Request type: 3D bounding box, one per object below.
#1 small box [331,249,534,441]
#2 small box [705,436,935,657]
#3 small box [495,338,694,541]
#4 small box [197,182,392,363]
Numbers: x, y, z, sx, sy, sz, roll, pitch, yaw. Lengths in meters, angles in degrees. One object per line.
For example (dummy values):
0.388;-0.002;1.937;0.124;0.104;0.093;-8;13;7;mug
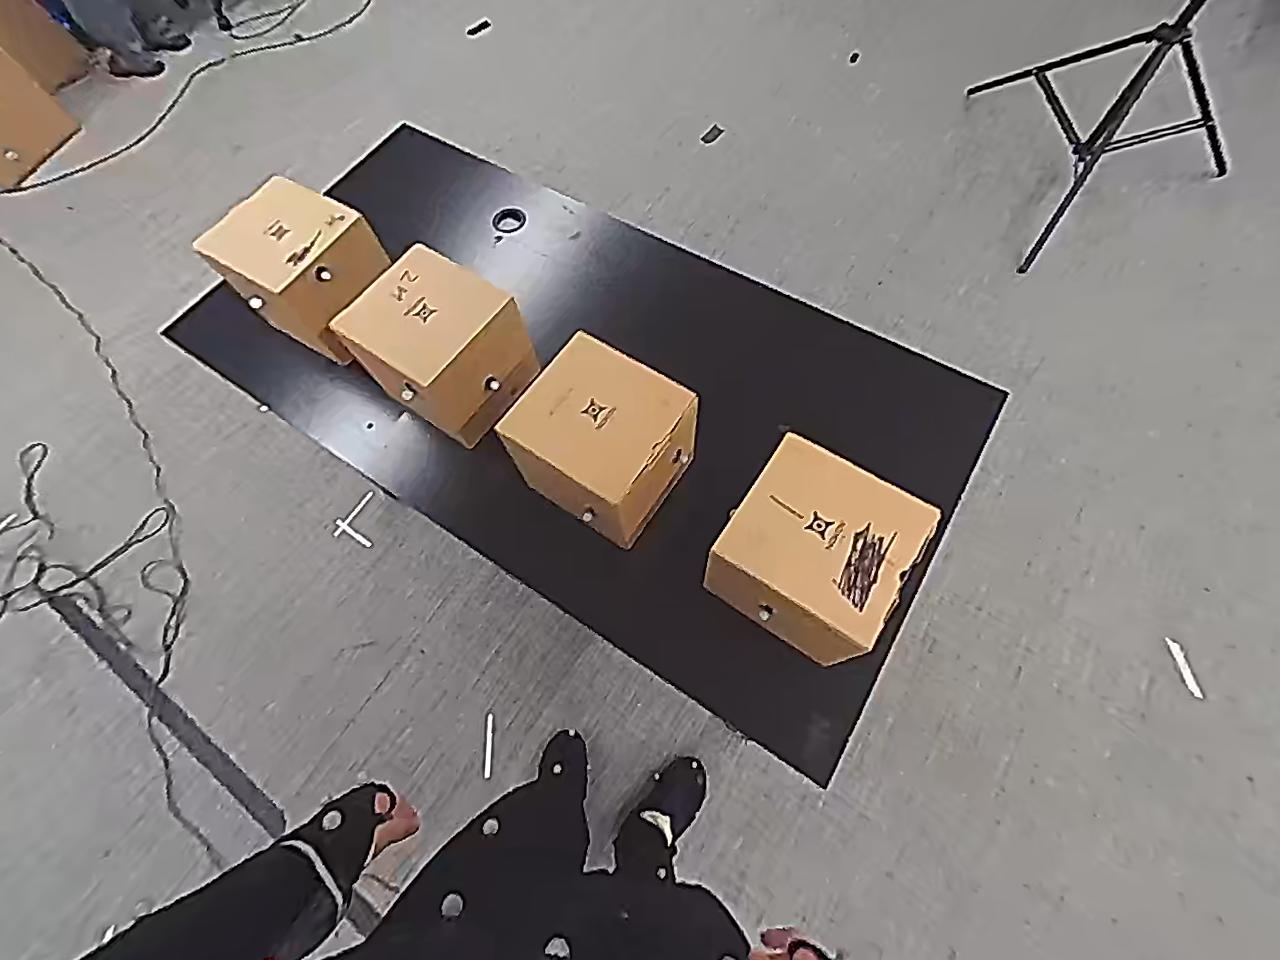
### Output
-0.274;-0.178;0.763;0.179;0.176;0.168;31;71;15;small box
0.190;0.086;0.623;0.179;0.176;0.168;31;71;17;small box
-0.048;-0.041;0.694;0.179;0.176;0.168;30;70;16;small box
-0.503;-0.310;0.832;0.179;0.176;0.168;28;71;14;small box
